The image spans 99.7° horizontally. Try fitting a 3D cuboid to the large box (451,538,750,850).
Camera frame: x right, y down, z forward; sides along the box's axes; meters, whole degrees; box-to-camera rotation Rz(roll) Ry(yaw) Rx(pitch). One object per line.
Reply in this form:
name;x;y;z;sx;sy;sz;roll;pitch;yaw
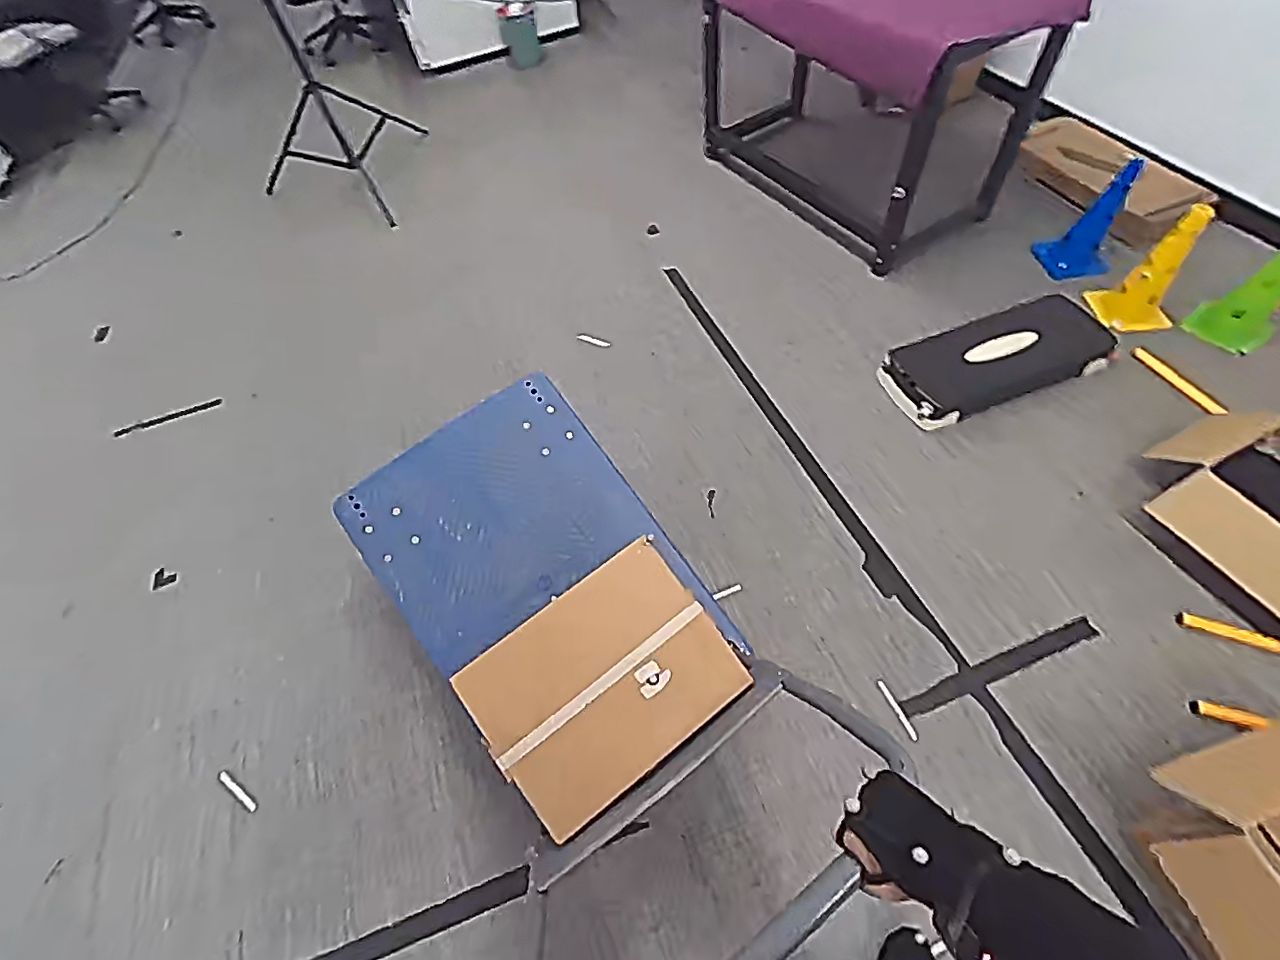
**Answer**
large box;-0.072;0.370;1.027;0.408;0.320;0.320;-36;83;-12
